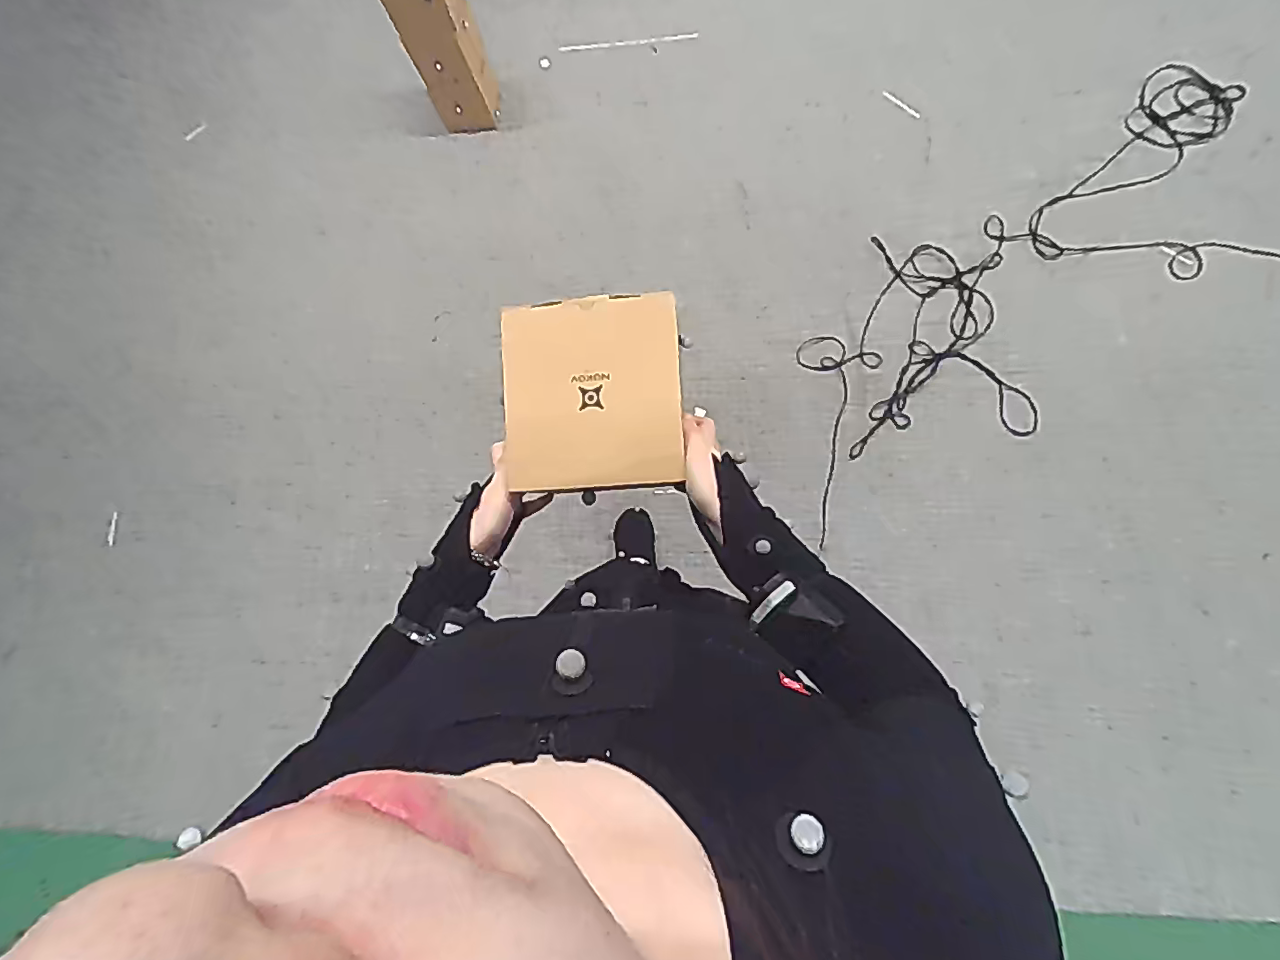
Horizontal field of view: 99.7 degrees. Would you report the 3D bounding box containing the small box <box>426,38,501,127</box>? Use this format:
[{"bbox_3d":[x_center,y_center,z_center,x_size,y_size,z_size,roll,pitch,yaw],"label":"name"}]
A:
[{"bbox_3d":[-0.558,-1.267,1.731,0.179,0.176,0.168,1,81,7],"label":"small box"}]

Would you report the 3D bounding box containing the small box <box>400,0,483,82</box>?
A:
[{"bbox_3d":[-0.568,-1.296,1.569,0.168,0.176,0.179,2,81,5],"label":"small box"}]

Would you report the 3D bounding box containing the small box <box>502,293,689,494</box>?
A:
[{"bbox_3d":[-0.035,-0.076,0.572,0.168,0.176,0.179,-3,87,6],"label":"small box"}]
